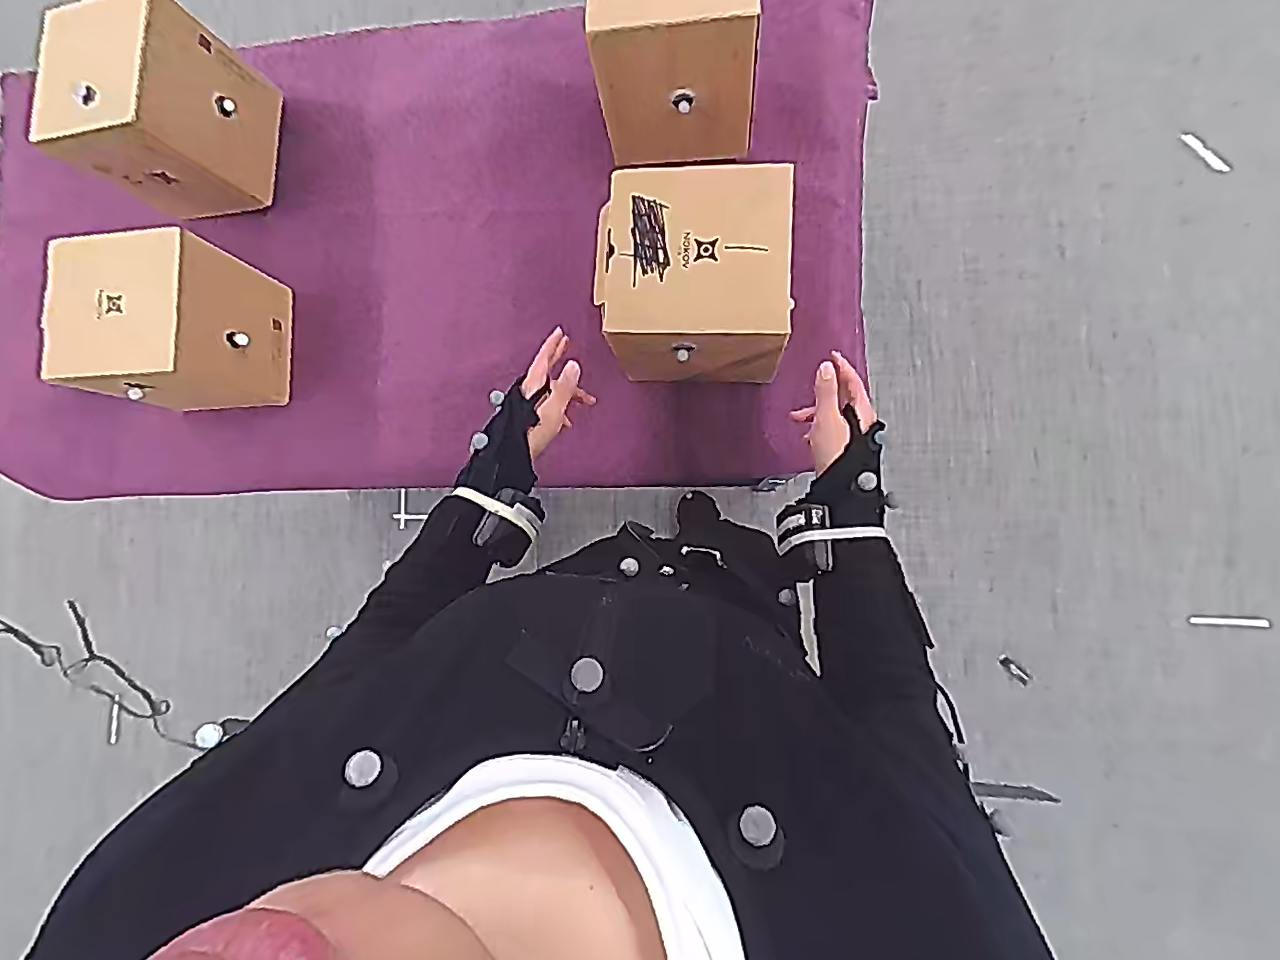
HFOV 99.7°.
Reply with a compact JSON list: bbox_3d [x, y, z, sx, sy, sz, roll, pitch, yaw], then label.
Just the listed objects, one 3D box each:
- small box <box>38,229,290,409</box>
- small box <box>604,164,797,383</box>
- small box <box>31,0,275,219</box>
[{"bbox_3d":[-0.574,-0.187,0.674,0.179,0.176,0.168,-2,85,8],"label":"small box"},{"bbox_3d":[0.066,-0.207,0.584,0.179,0.176,0.168,2,85,7],"label":"small box"},{"bbox_3d":[-0.599,-0.461,0.684,0.179,0.168,0.176,2,85,15],"label":"small box"}]
